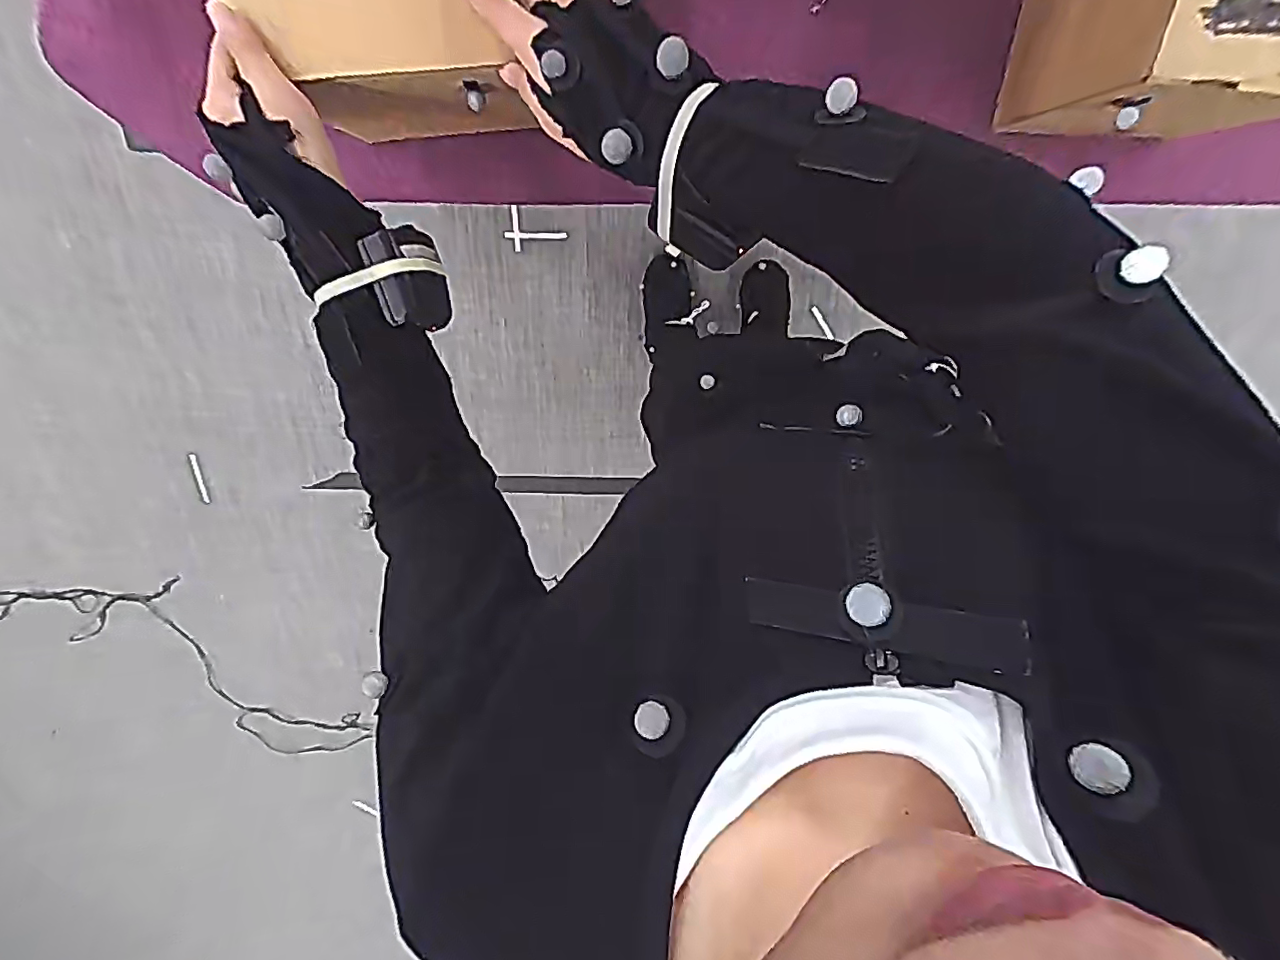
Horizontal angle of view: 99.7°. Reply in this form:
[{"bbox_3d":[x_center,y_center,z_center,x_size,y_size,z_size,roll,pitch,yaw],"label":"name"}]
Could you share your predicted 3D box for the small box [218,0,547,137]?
[{"bbox_3d":[-0.173,-0.358,0.381,0.179,0.176,0.168,-6,114,0],"label":"small box"}]
